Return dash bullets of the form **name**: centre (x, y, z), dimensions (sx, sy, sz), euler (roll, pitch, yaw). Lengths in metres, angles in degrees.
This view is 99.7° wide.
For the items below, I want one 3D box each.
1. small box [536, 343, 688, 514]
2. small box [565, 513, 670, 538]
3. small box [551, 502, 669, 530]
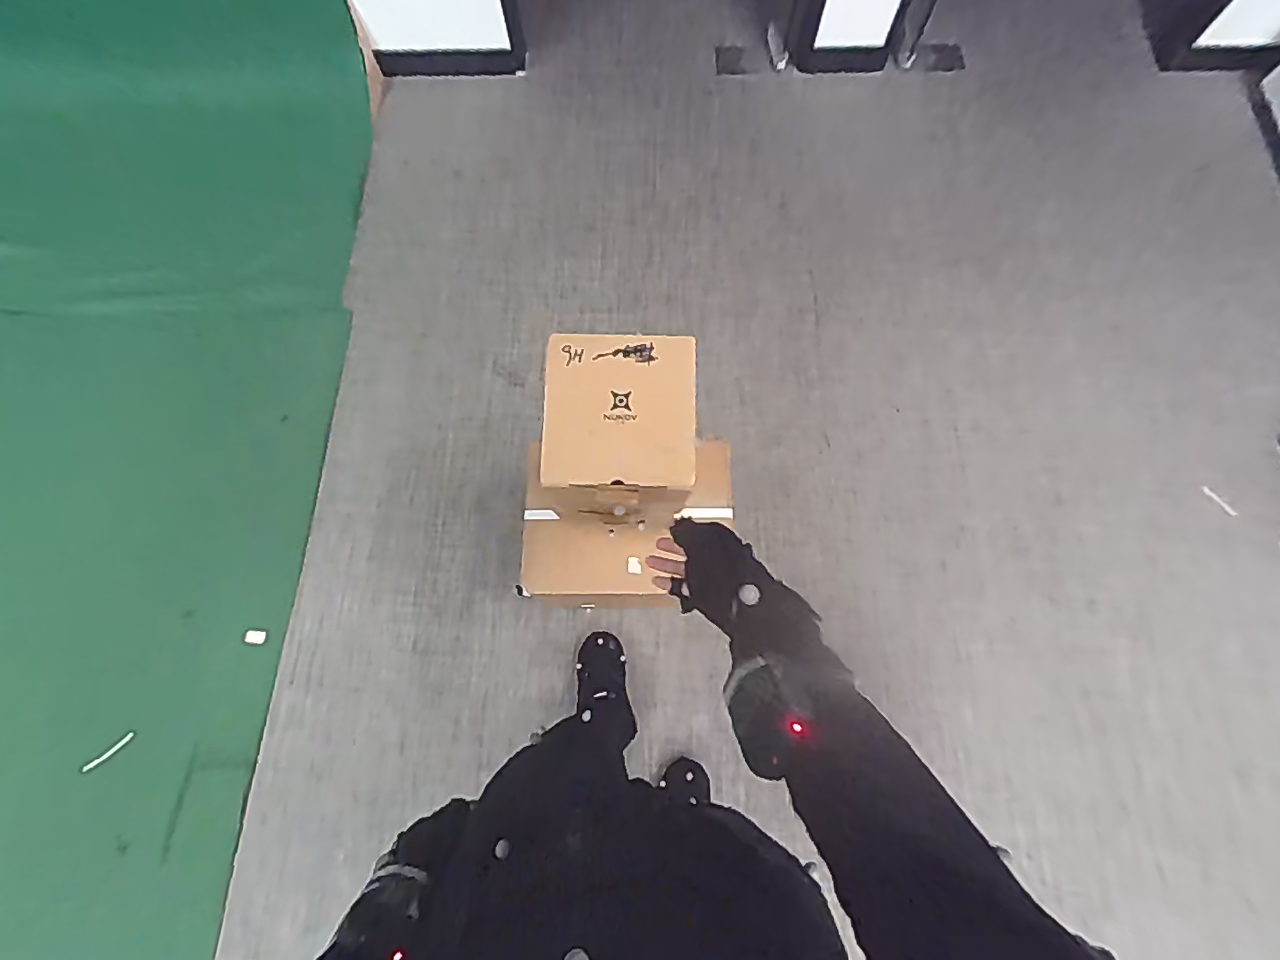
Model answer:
- **small box**: centre (-0.027, -0.053, 0.669), dimensions (0.168, 0.176, 0.179), euler (1, 79, 0)
- **small box**: centre (-0.038, 0.017, 0.987), dimensions (0.179, 0.176, 0.168), euler (-1, 79, 0)
- **small box**: centre (-0.038, -0.018, 0.829), dimensions (0.168, 0.176, 0.179), euler (0, 77, 0)
